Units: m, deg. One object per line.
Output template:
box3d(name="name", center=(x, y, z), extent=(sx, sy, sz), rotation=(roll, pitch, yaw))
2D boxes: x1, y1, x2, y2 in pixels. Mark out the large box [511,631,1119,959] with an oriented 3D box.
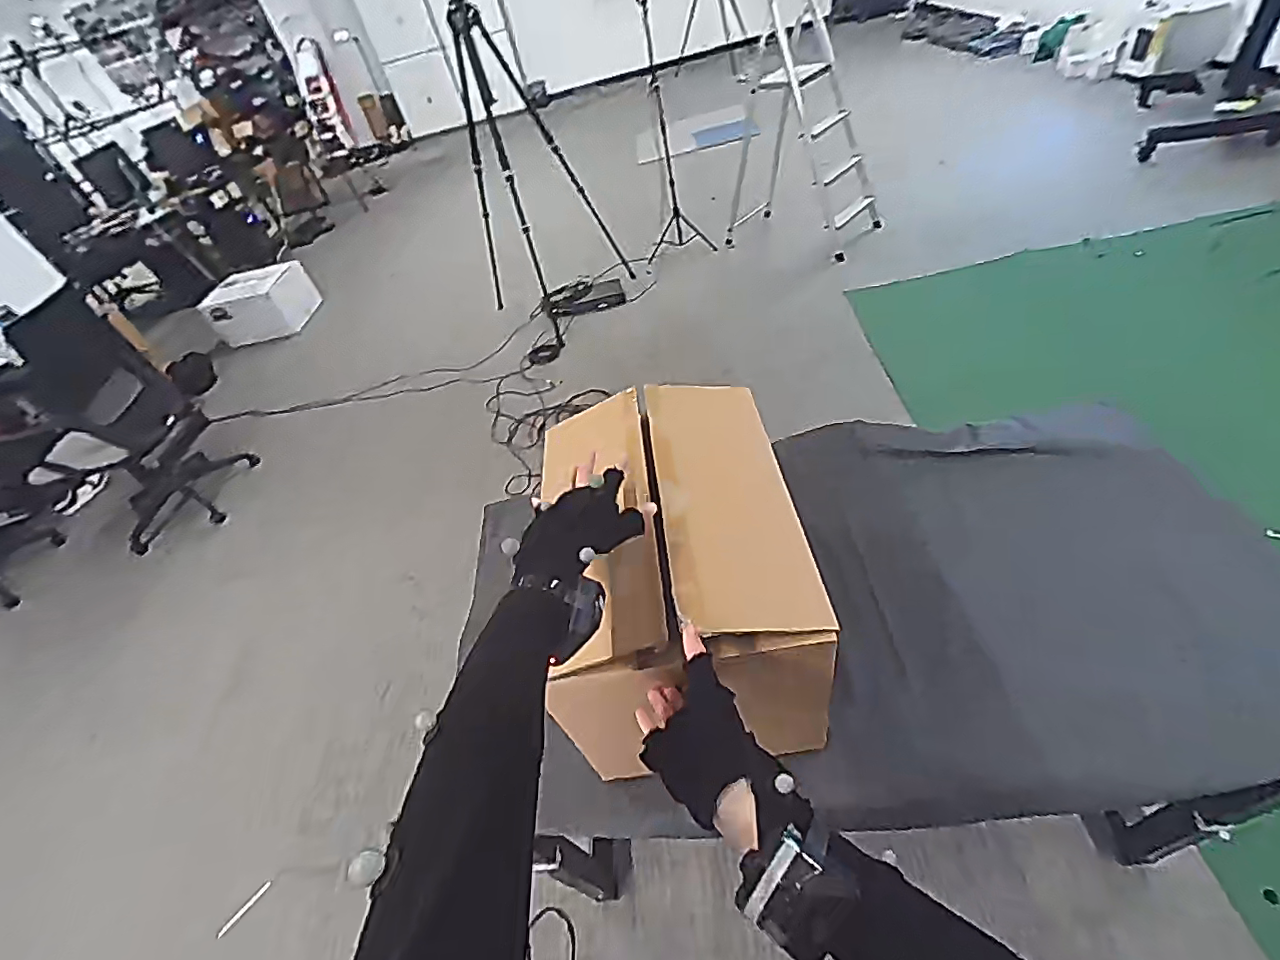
box3d(name="large box", center=(0.155, 0.390, 0.440), extent=(0.320, 0.320, 0.408), rotation=(-12, 75, -44))
